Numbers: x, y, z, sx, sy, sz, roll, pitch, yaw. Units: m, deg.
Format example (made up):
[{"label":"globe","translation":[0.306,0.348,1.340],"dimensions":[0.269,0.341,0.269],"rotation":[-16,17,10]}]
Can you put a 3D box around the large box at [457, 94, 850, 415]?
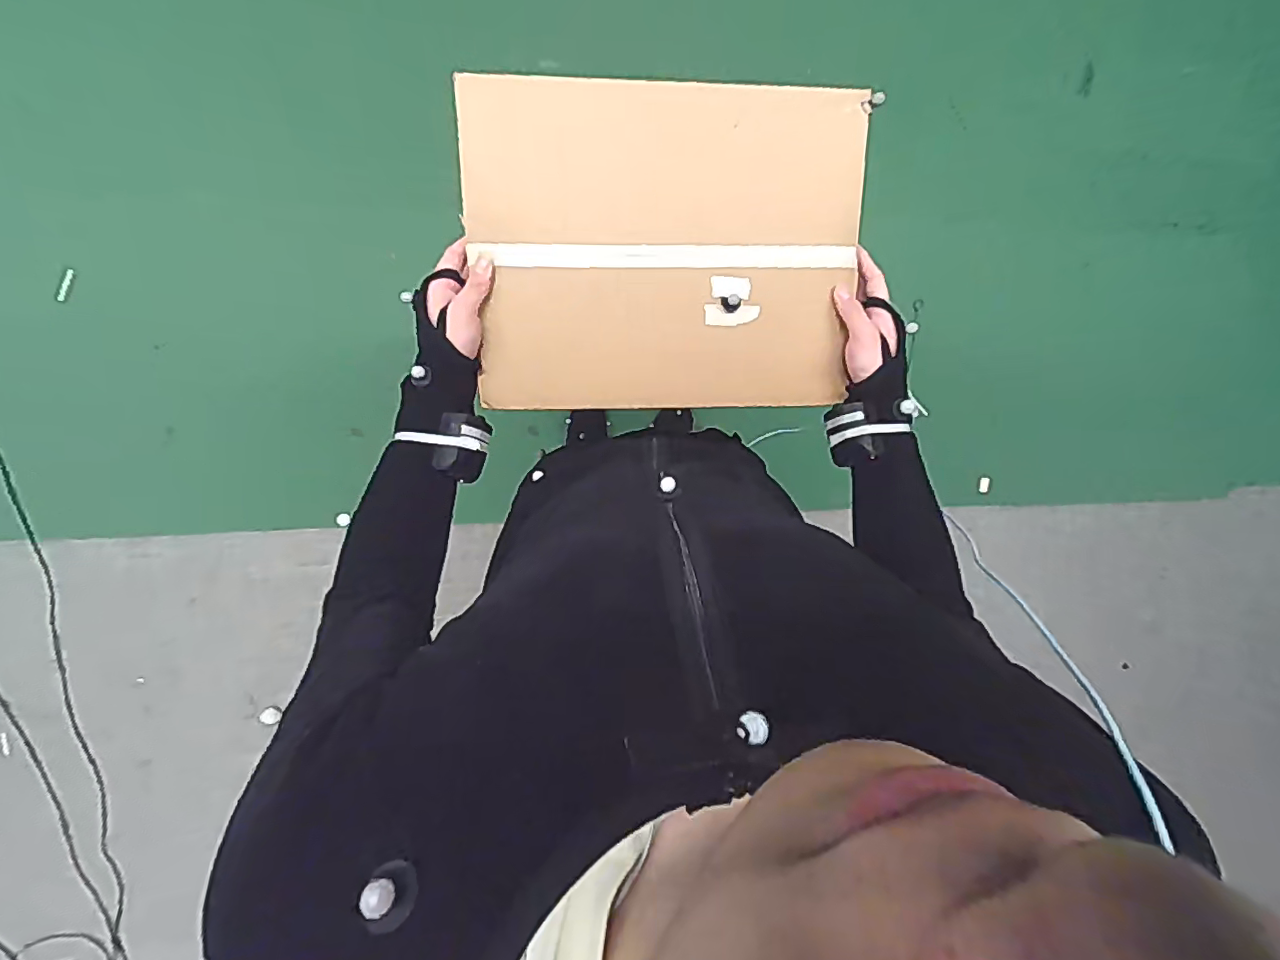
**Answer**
[{"label":"large box","translation":[0.007,-0.265,0.716],"dimensions":[0.408,0.320,0.320],"rotation":[-2,104,-6]}]
